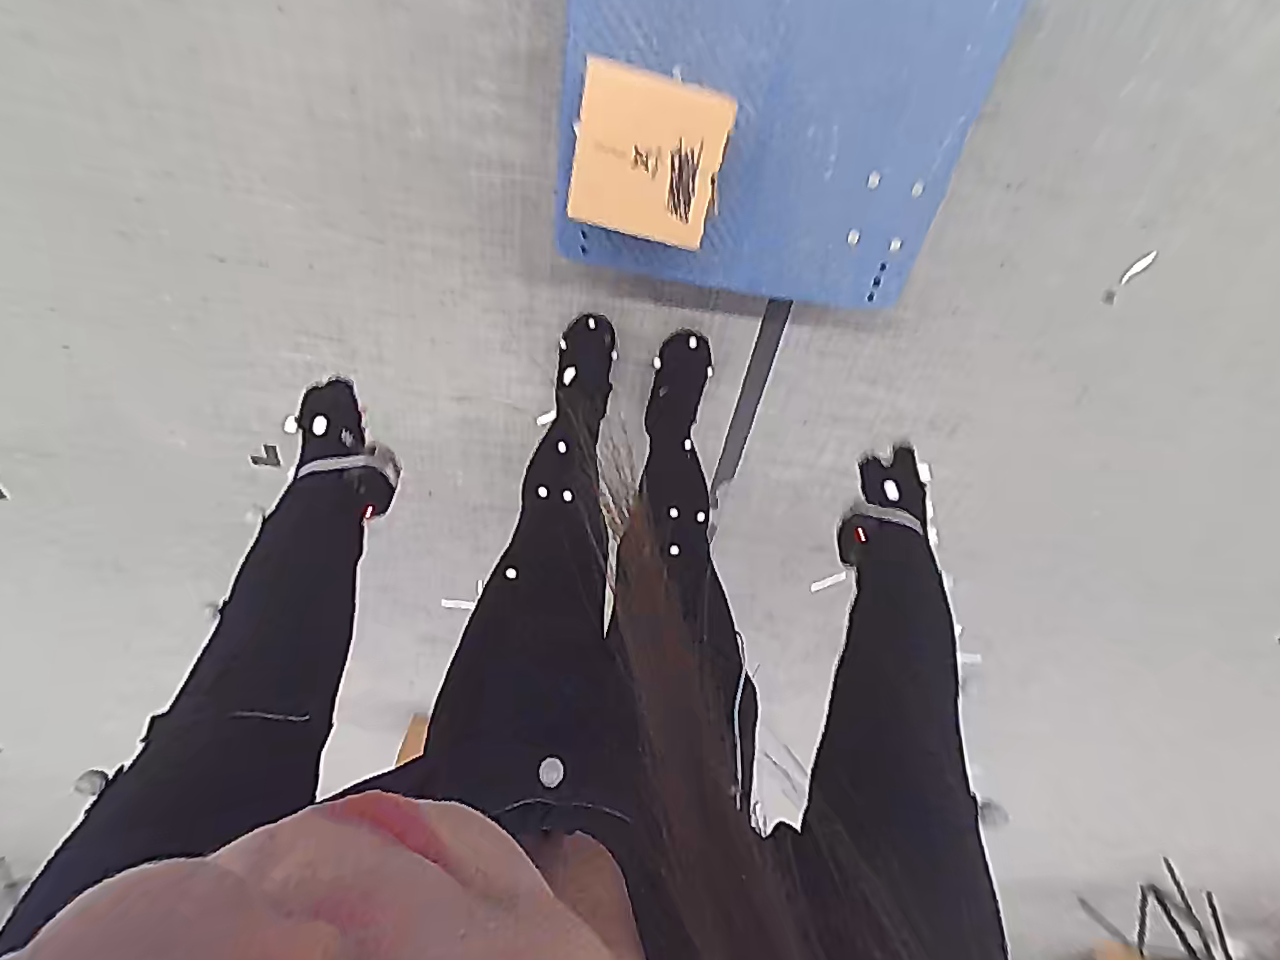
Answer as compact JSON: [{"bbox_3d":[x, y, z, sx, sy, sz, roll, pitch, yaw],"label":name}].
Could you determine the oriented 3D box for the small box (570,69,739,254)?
[{"bbox_3d":[0.014,-0.425,0.721,0.179,0.176,0.168,12,125,-6],"label":"small box"}]

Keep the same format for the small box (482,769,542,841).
[{"bbox_3d":[-0.441,1.135,1.890,0.179,0.176,0.168,6,126,-3],"label":"small box"}]

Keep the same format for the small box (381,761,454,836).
[{"bbox_3d":[-0.761,1.096,1.866,0.179,0.176,0.168,7,126,-2],"label":"small box"}]

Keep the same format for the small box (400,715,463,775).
[{"bbox_3d":[-0.763,0.997,1.998,0.168,0.176,0.179,6,126,-3],"label":"small box"}]
